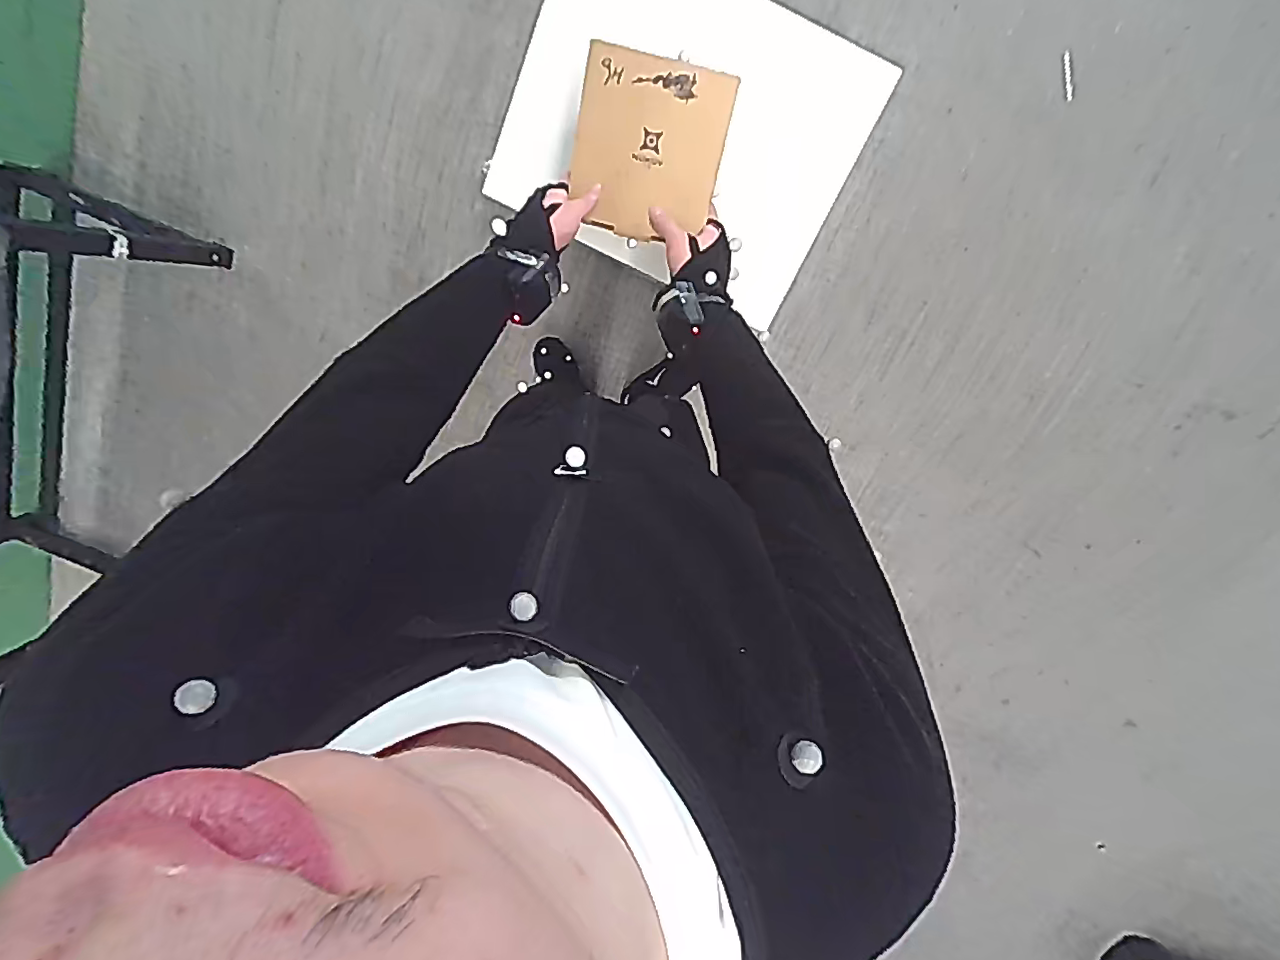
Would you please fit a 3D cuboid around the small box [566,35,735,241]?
[{"bbox_3d":[0.011,-0.407,0.678,0.168,0.176,0.179,10,113,-3],"label":"small box"}]
